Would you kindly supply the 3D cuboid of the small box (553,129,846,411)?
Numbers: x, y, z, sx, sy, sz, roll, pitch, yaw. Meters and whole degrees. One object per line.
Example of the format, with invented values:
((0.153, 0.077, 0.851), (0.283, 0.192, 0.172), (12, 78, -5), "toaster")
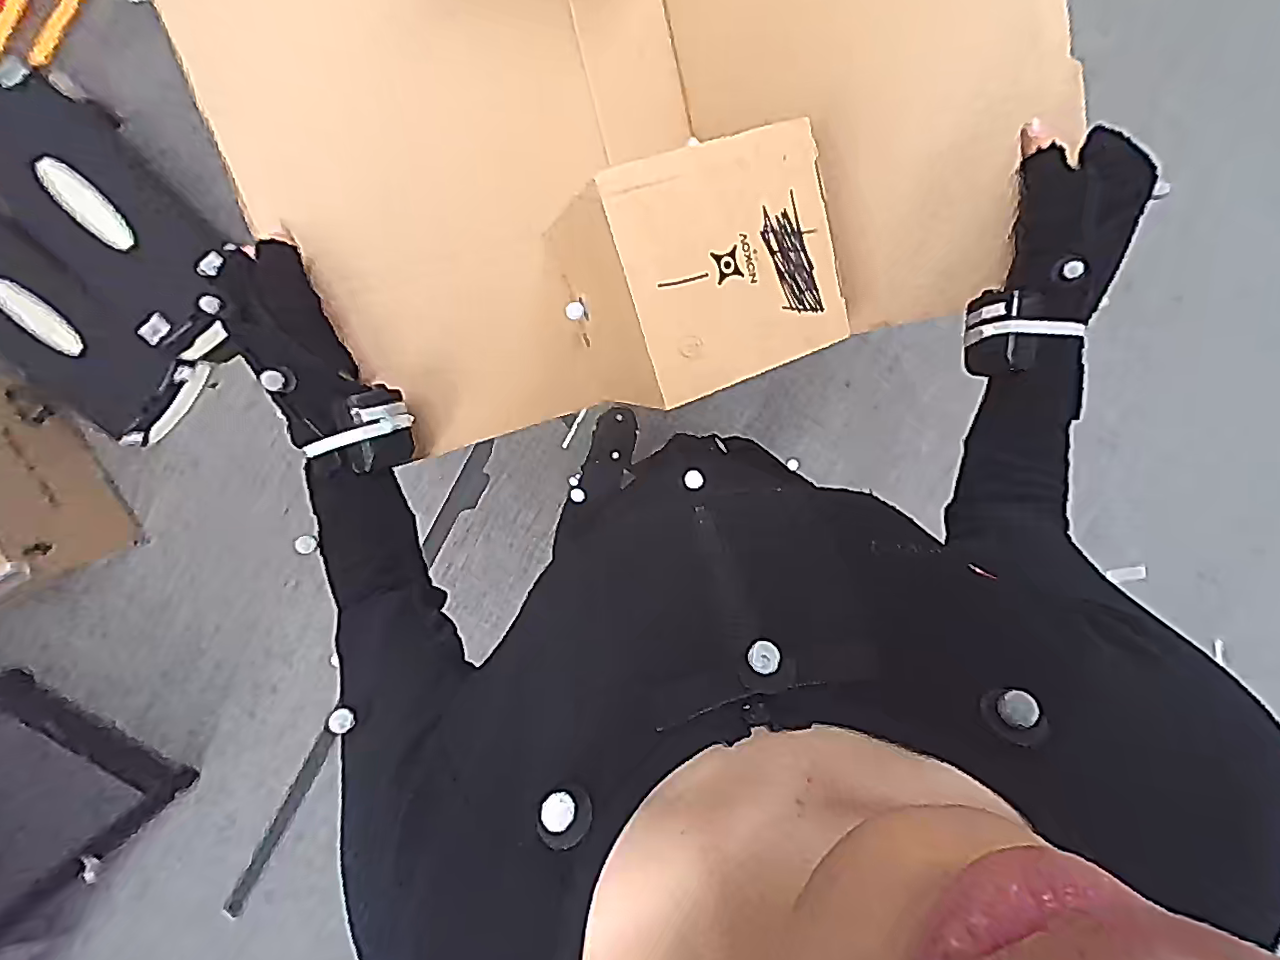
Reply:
((0.044, -0.171, 0.472), (0.179, 0.176, 0.168), (-23, 108, -15), "small box")
